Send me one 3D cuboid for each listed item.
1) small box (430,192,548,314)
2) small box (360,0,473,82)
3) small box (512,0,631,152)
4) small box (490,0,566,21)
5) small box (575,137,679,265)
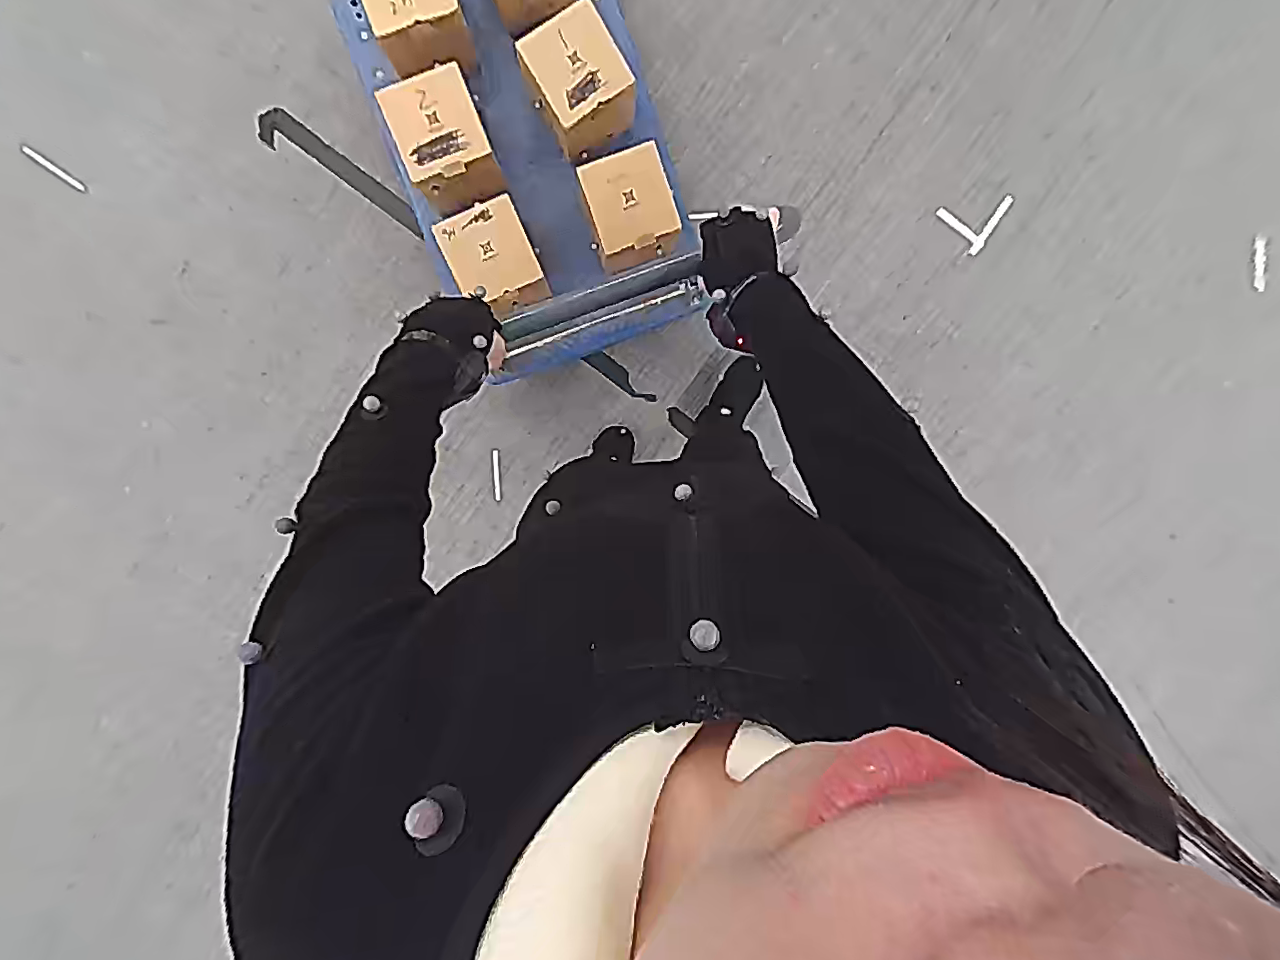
[{"bbox_3d":[-0.305,-0.463,1.138,0.168,0.176,0.179,-24,100,-1],"label":"small box"},{"bbox_3d":[-0.448,-0.934,1.056,0.168,0.176,0.179,-19,100,-1],"label":"small box"},{"bbox_3d":[-0.132,-0.807,1.100,0.168,0.176,0.179,-33,99,1],"label":"small box"},{"bbox_3d":[-0.244,-1.052,1.055,0.168,0.176,0.179,-24,100,0],"label":"small box"},{"bbox_3d":[-0.029,-0.575,1.144,0.168,0.176,0.179,-21,99,-2],"label":"small box"}]
